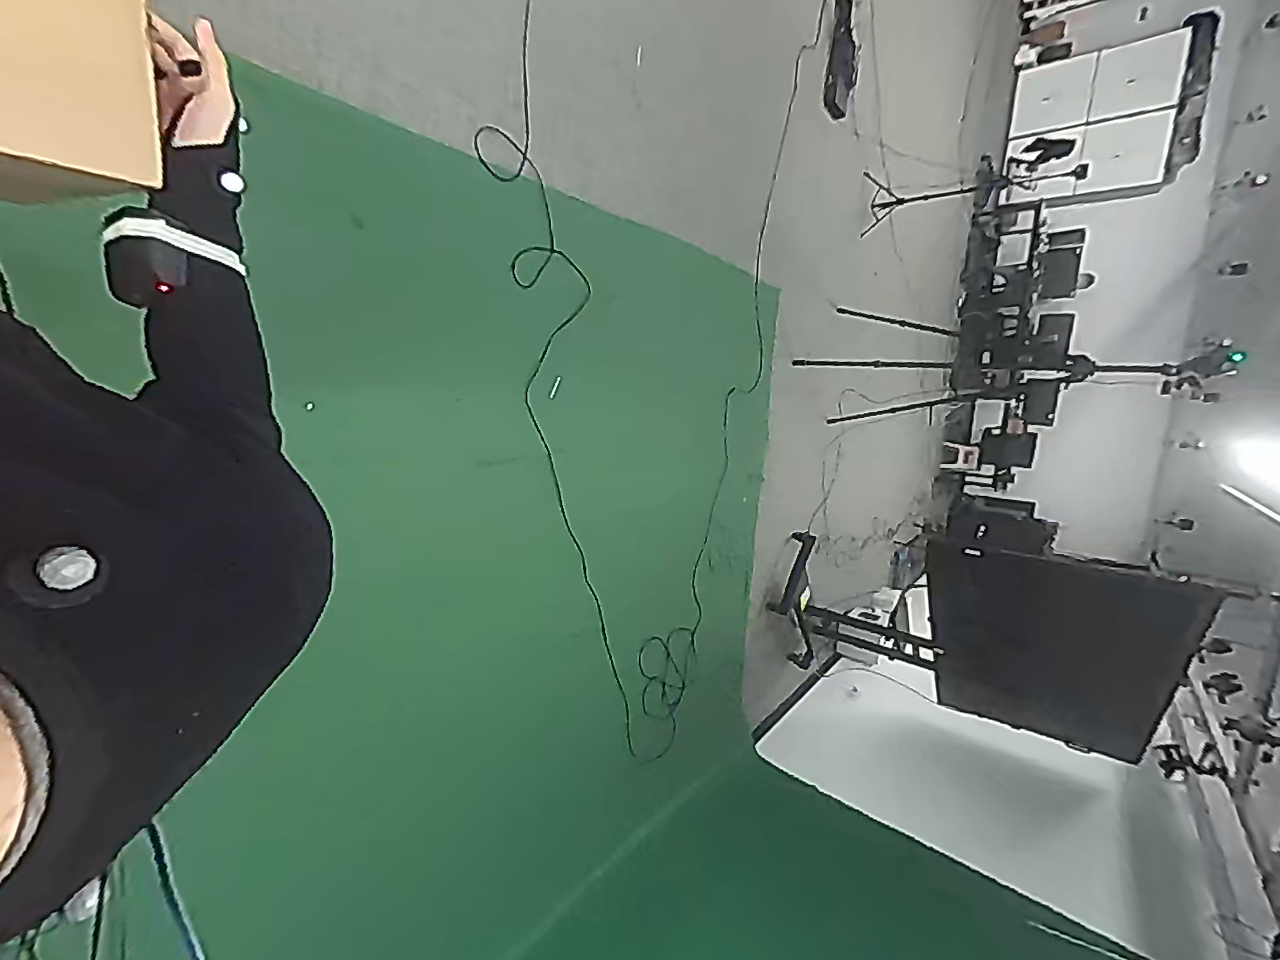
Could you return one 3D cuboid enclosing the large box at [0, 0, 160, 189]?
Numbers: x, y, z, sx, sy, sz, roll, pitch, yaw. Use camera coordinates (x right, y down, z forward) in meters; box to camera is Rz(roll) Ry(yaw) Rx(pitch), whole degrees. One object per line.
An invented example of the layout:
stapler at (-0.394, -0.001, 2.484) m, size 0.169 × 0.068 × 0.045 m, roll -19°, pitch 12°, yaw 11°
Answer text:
large box at (-0.604, -0.385, 0.307) m, size 0.408 × 0.320 × 0.320 m, roll -18°, pitch 117°, yaw -57°
